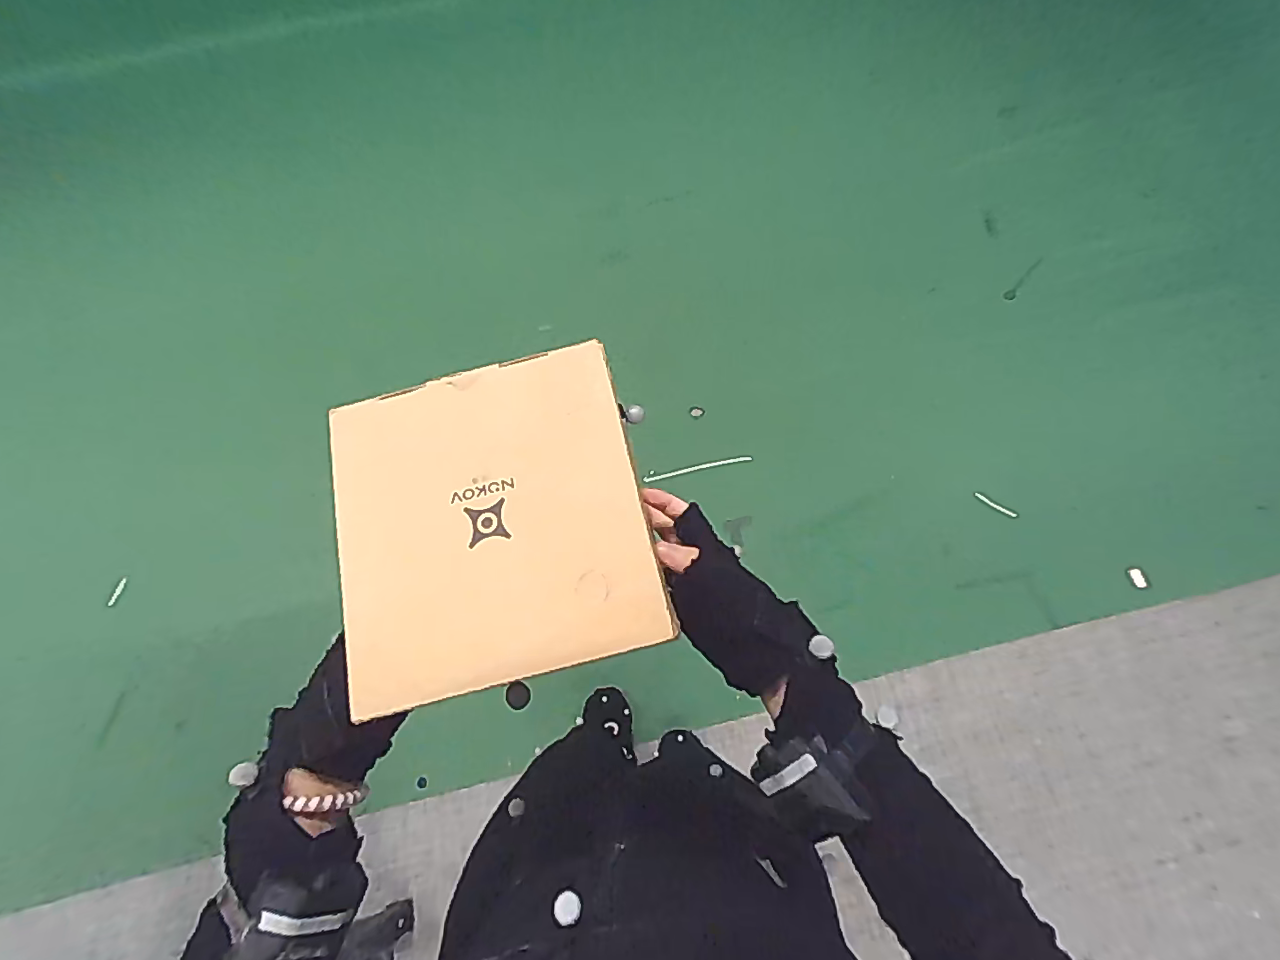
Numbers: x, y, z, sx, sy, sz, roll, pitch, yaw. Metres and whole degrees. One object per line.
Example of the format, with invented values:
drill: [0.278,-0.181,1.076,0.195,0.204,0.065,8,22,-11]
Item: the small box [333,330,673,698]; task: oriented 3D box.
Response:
small box: [-0.077,0.033,0.371,0.168,0.176,0.179,-15,72,1]
